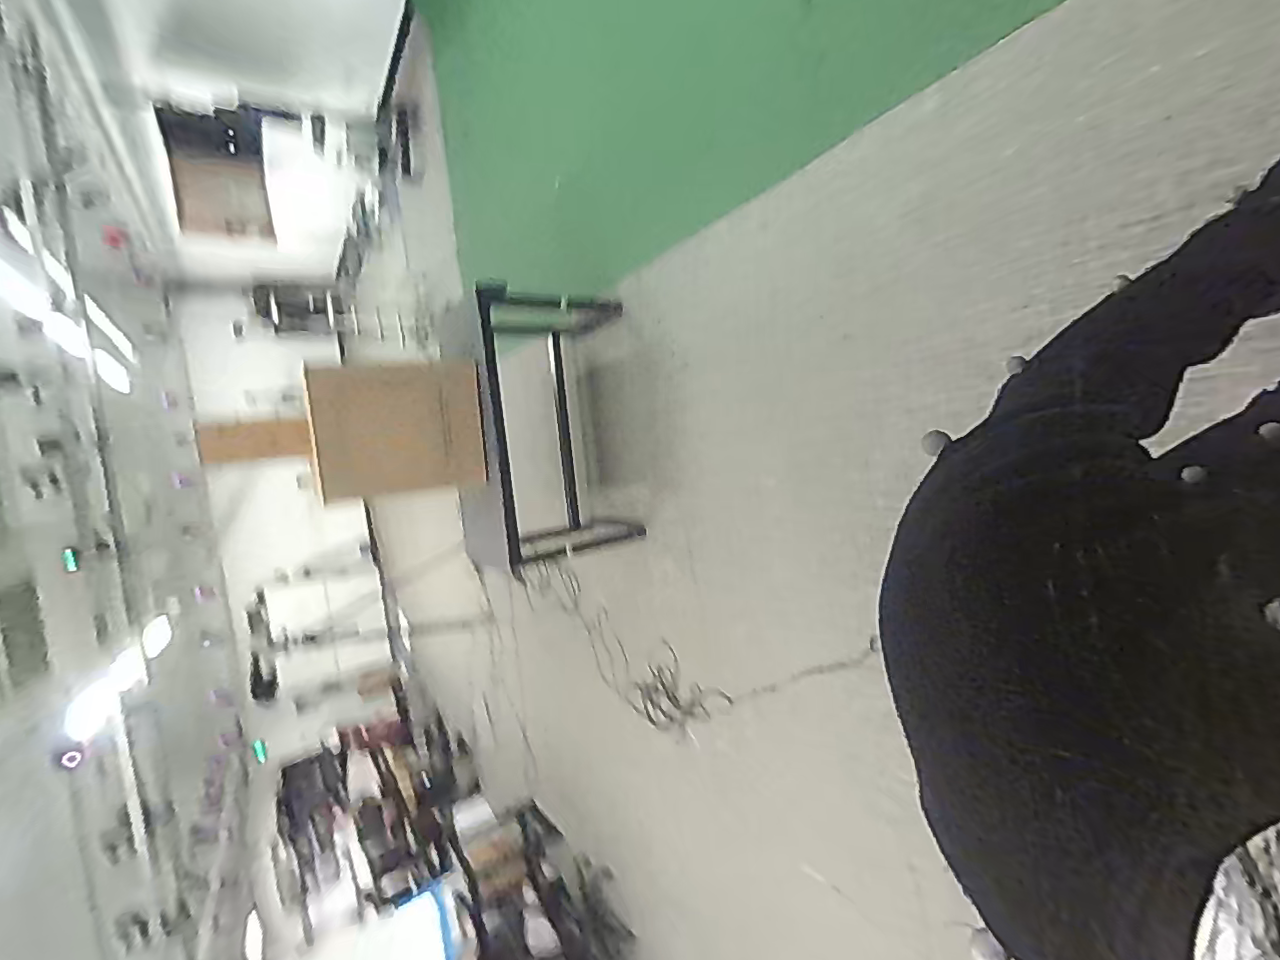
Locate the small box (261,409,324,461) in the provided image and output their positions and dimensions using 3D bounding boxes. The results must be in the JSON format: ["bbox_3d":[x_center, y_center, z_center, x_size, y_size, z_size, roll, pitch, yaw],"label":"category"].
[{"bbox_3d":[-1.296,-0.174,2.018,0.168,0.176,0.179,11,107,52],"label":"small box"}]
